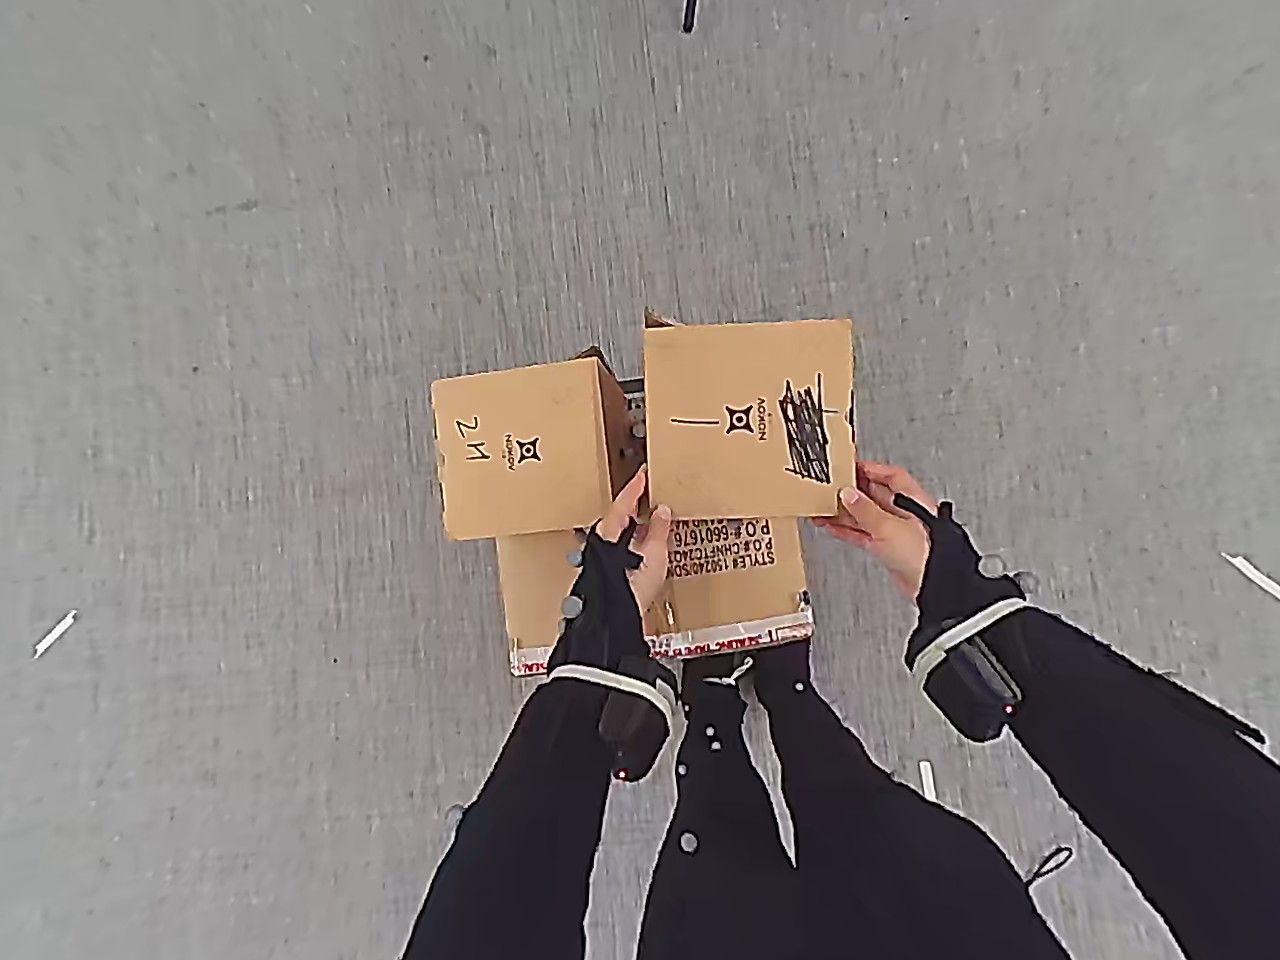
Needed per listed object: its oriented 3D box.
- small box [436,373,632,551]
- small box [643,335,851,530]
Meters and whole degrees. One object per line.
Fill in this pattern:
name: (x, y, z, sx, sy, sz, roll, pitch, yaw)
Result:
small box: (-0.106, -0.014, 0.618, 0.179, 0.176, 0.168, -7, 86, 7)
small box: (0.094, -0.040, 0.541, 0.179, 0.176, 0.168, -2, 89, 3)
